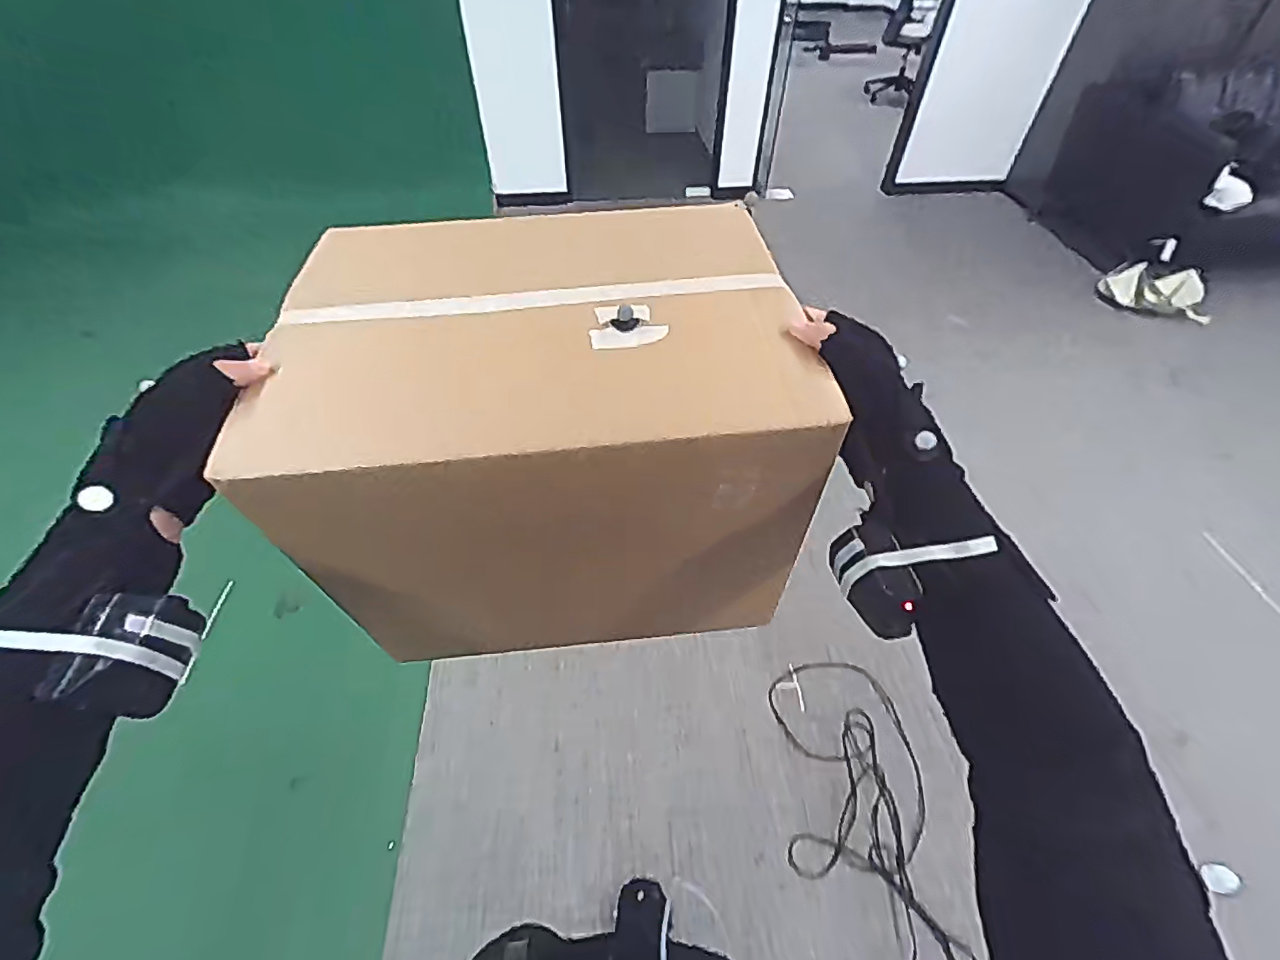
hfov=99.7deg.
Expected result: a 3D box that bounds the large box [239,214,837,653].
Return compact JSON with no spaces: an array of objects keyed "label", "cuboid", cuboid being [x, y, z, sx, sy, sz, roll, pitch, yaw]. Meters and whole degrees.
[{"label":"large box","cuboid":[-0.077,-0.044,0.563,0.408,0.320,0.320,-5,52,-4]}]
